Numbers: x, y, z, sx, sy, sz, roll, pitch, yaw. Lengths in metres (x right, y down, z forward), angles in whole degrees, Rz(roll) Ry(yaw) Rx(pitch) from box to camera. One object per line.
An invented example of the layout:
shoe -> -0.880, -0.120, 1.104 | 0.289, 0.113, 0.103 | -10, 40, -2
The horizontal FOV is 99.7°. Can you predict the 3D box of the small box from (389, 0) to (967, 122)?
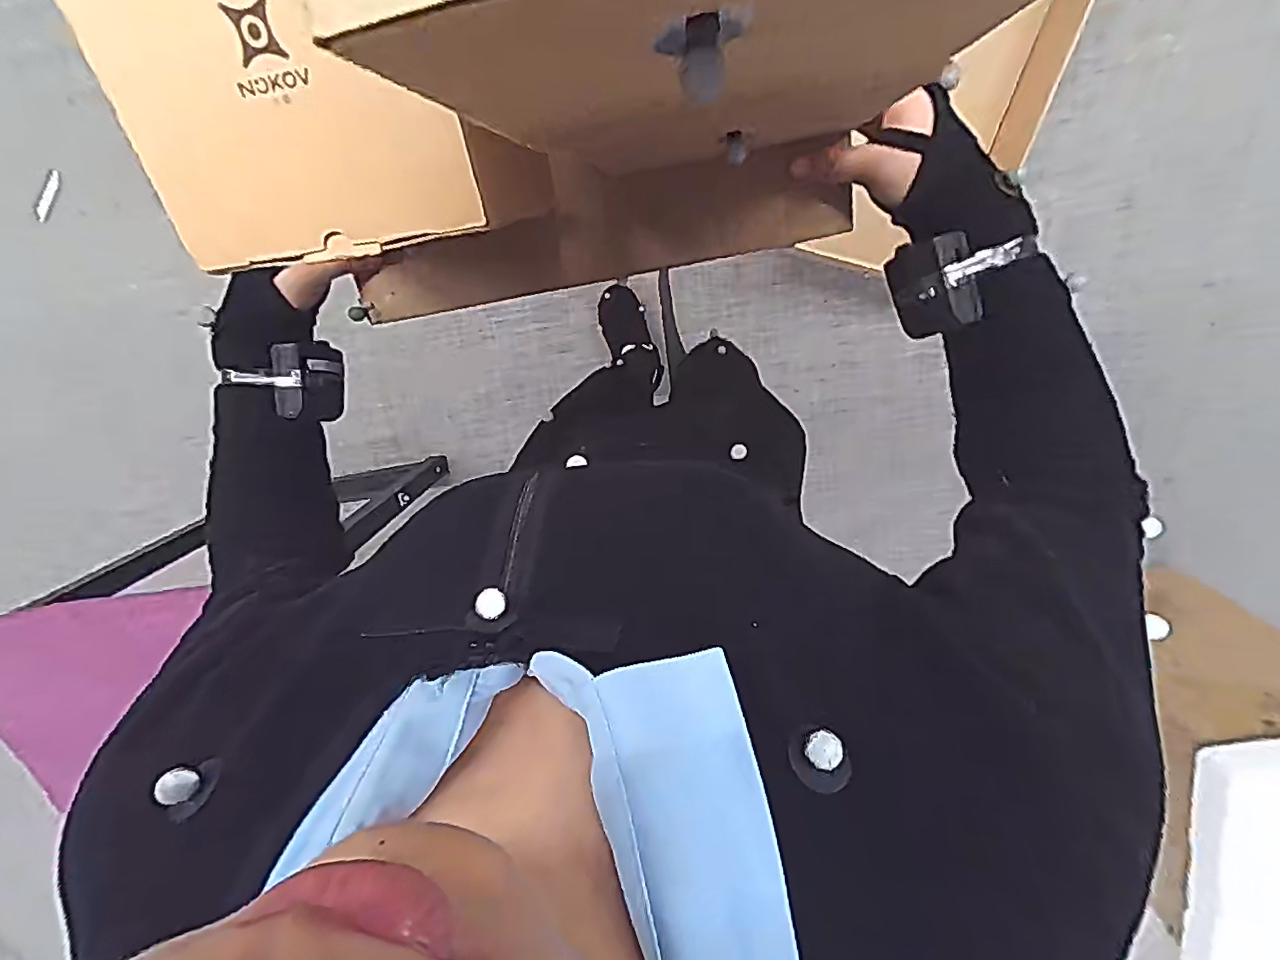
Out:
small box -> 0.016, -0.205, 0.127 | 0.179, 0.176, 0.168 | -6, 115, 8
